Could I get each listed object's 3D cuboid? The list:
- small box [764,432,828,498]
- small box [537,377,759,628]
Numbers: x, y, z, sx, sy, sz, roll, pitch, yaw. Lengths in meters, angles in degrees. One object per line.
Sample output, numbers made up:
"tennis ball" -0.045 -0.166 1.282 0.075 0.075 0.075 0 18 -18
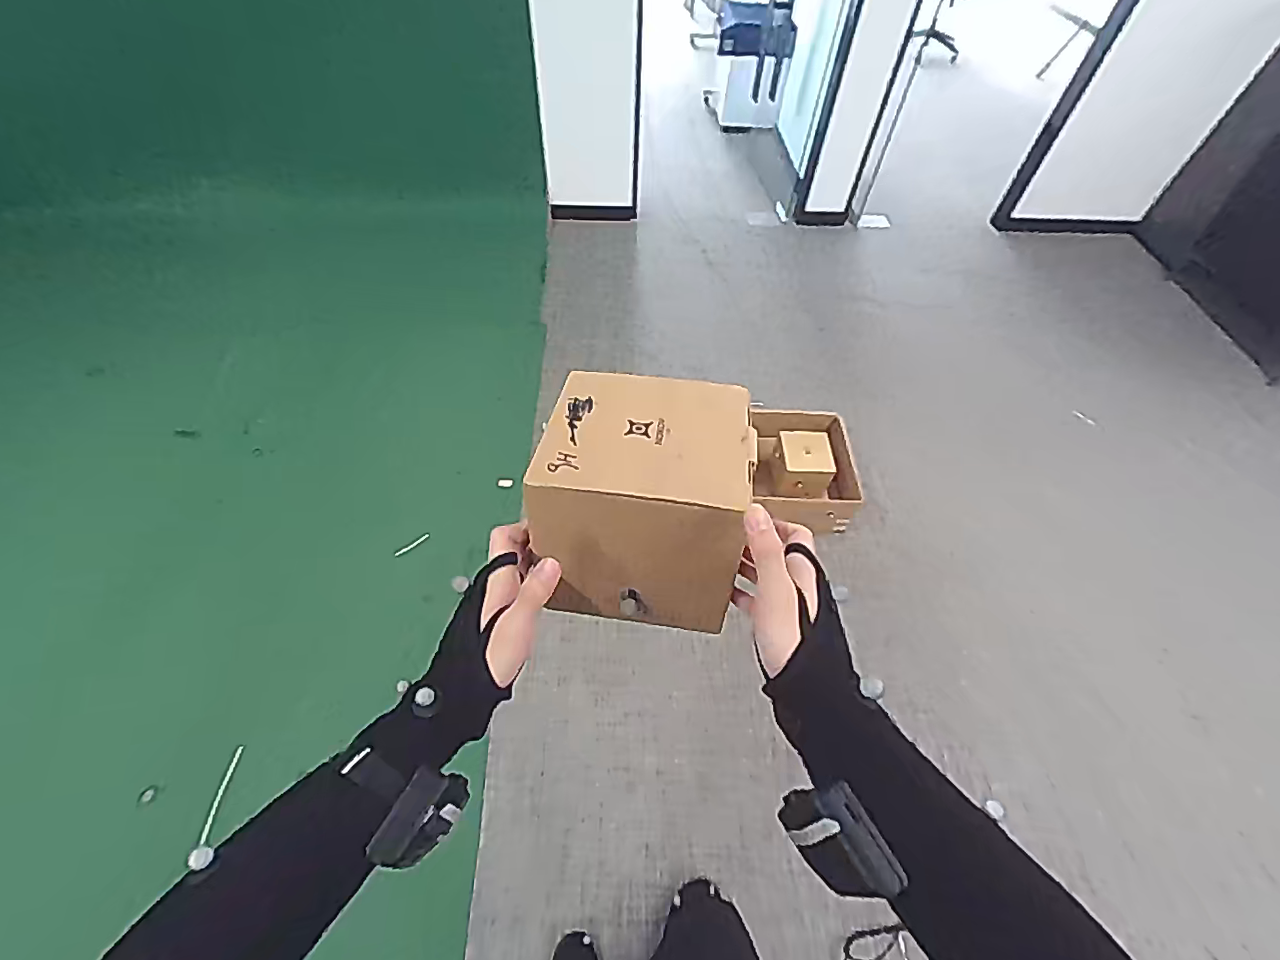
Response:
"small box" 0.545 -0.048 1.907 0.168 0.176 0.179 1 54 -2
"small box" 0.010 0.023 0.527 0.179 0.176 0.168 8 42 3
